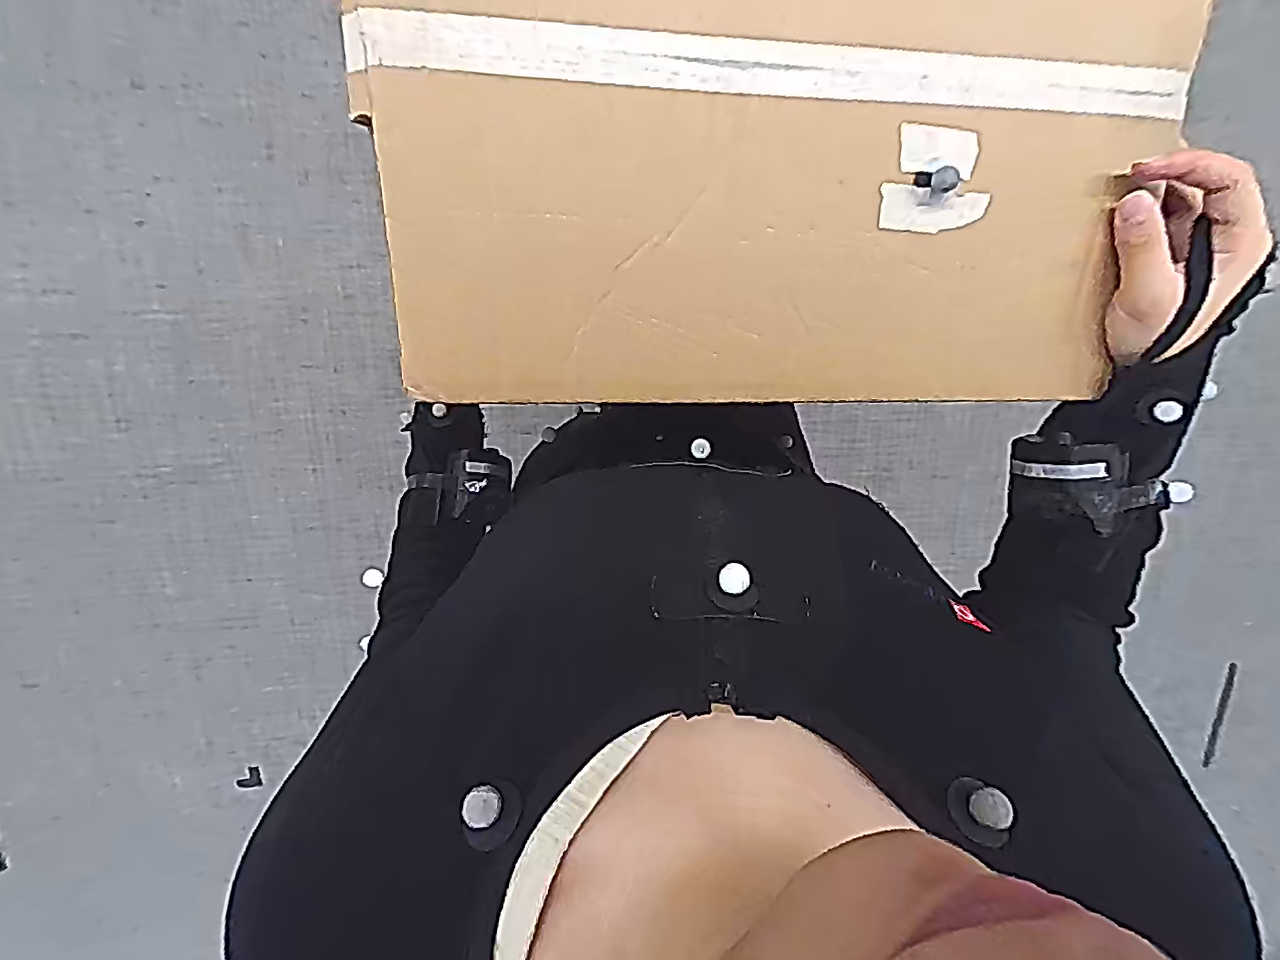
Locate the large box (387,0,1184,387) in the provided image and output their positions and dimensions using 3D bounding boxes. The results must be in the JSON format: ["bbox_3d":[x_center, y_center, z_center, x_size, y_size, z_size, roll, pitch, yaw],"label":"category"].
[{"bbox_3d":[0.060,-0.248,0.406,0.408,0.320,0.320,-2,108,-9],"label":"large box"}]
